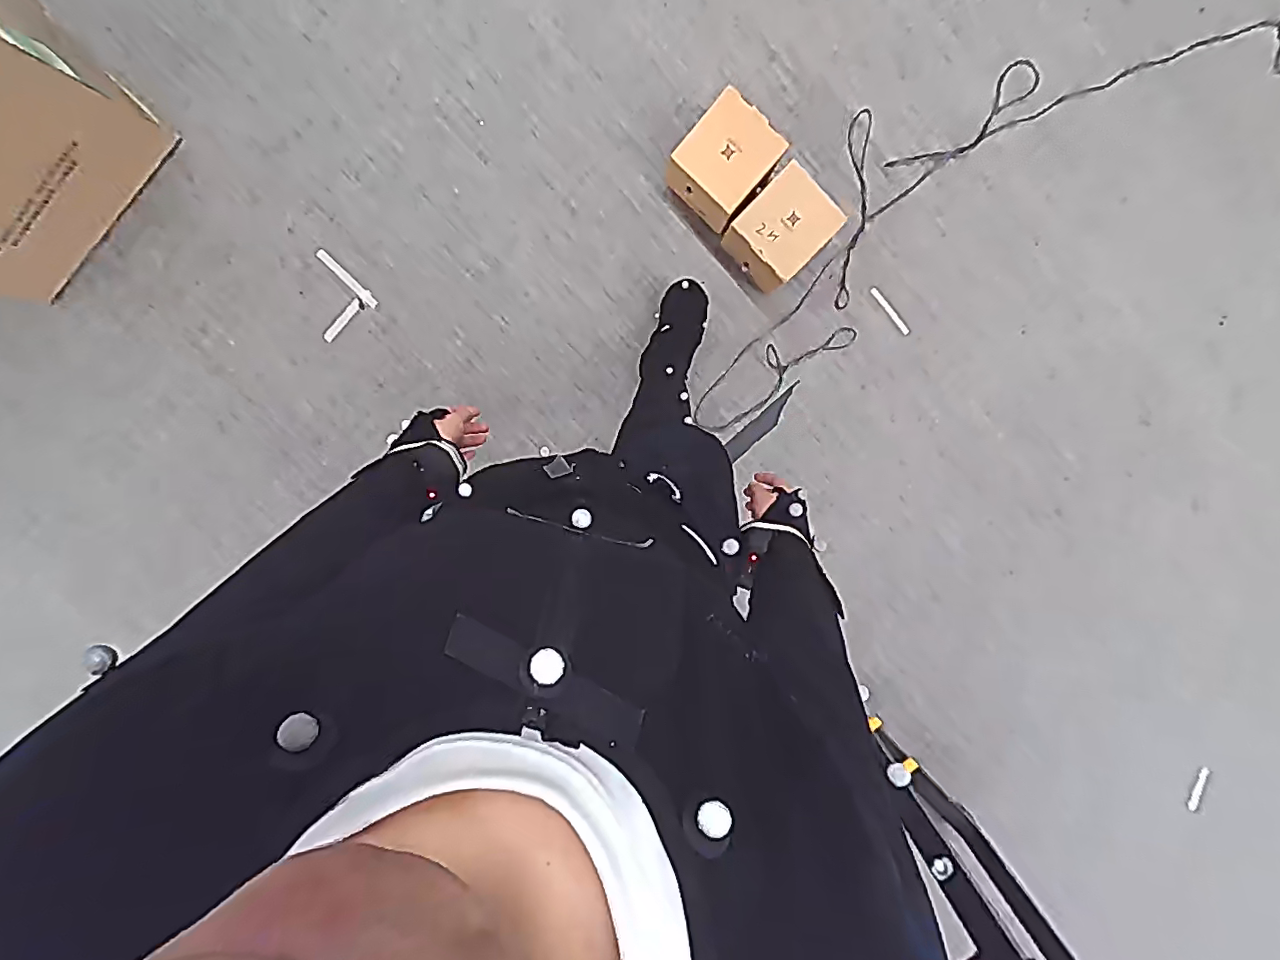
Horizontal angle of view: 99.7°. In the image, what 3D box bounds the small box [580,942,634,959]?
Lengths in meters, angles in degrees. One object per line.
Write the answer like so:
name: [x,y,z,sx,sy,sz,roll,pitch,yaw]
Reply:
small box: [-0.088,1.356,1.397,0.168,0.176,0.179,-42,98,6]
